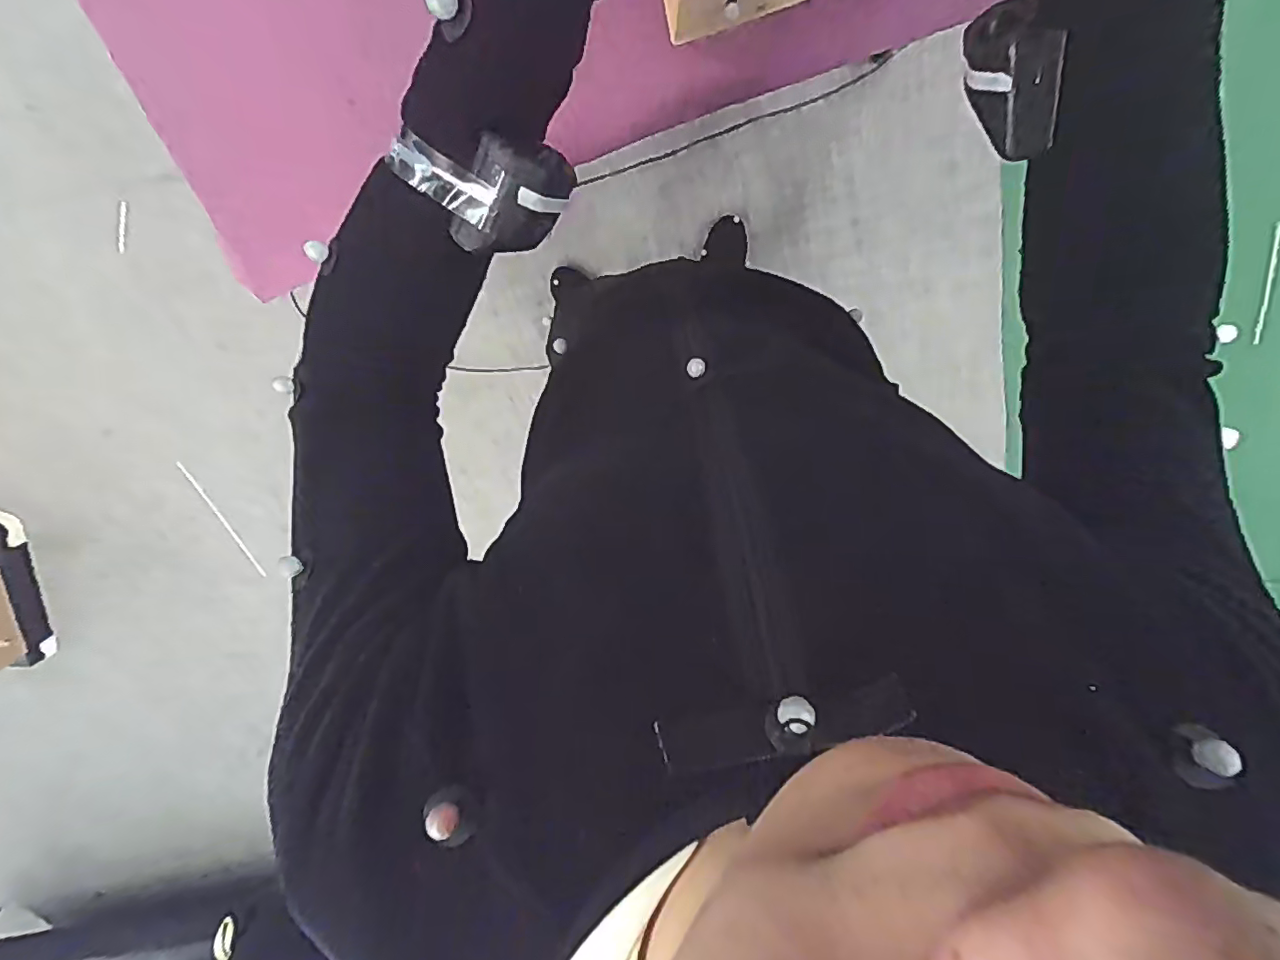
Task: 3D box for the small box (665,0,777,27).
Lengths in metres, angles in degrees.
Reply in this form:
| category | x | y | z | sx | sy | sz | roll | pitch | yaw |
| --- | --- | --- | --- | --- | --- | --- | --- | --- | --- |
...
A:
| category | x | y | z | sx | sy | sz | roll | pitch | yaw |
| --- | --- | --- | --- | --- | --- | --- | --- | --- | --- |
| small box | 0.092 | -0.587 | 0.530 | 0.168 | 0.176 | 0.179 | -13 | 114 | 9 |
